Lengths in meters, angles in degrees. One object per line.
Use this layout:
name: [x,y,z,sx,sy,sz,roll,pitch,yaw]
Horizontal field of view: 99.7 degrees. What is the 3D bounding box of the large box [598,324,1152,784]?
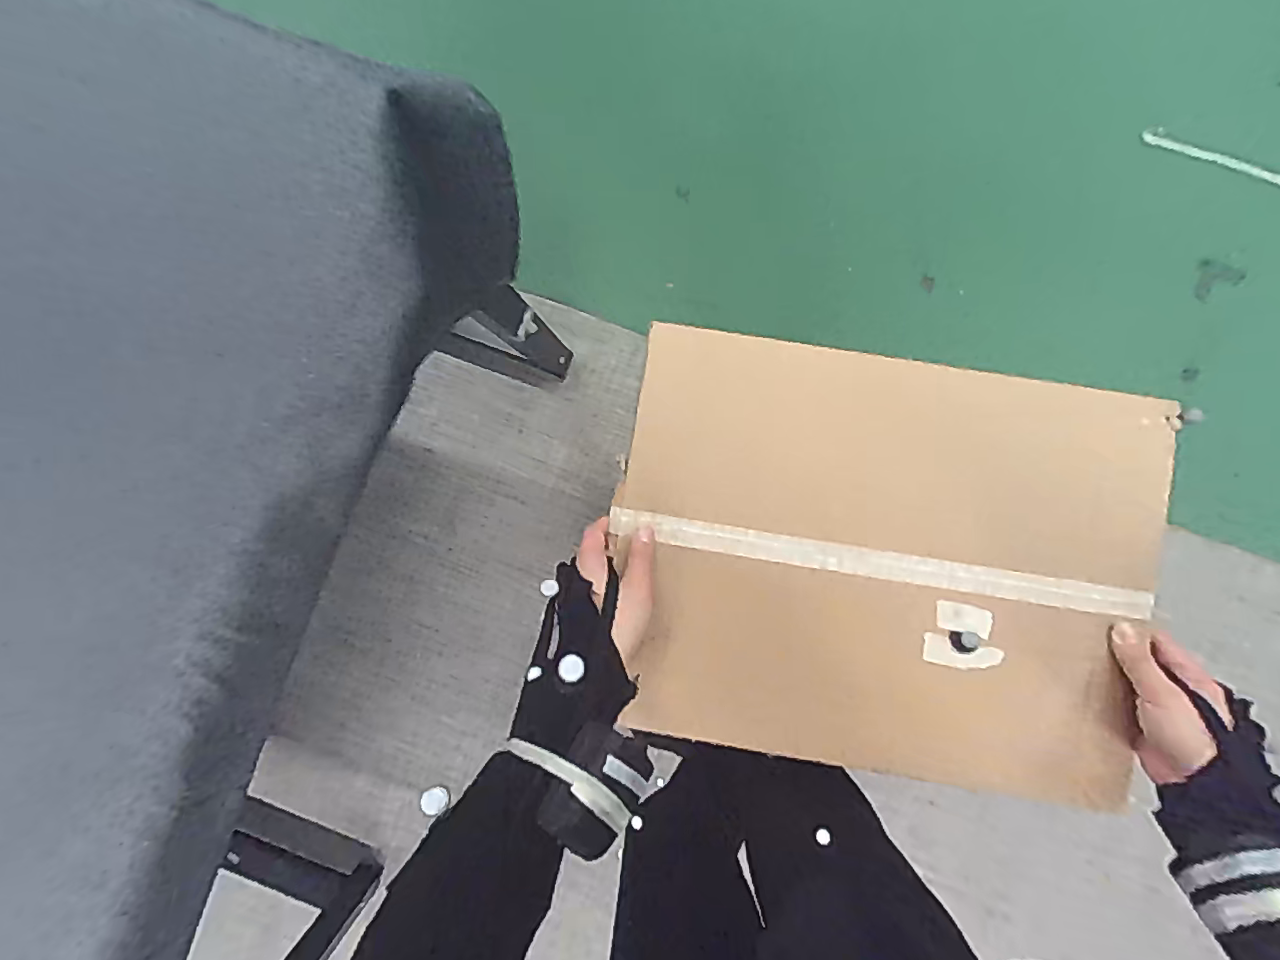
large box: [0.183,0.060,0.565,0.408,0.320,0.320,9,88,1]
